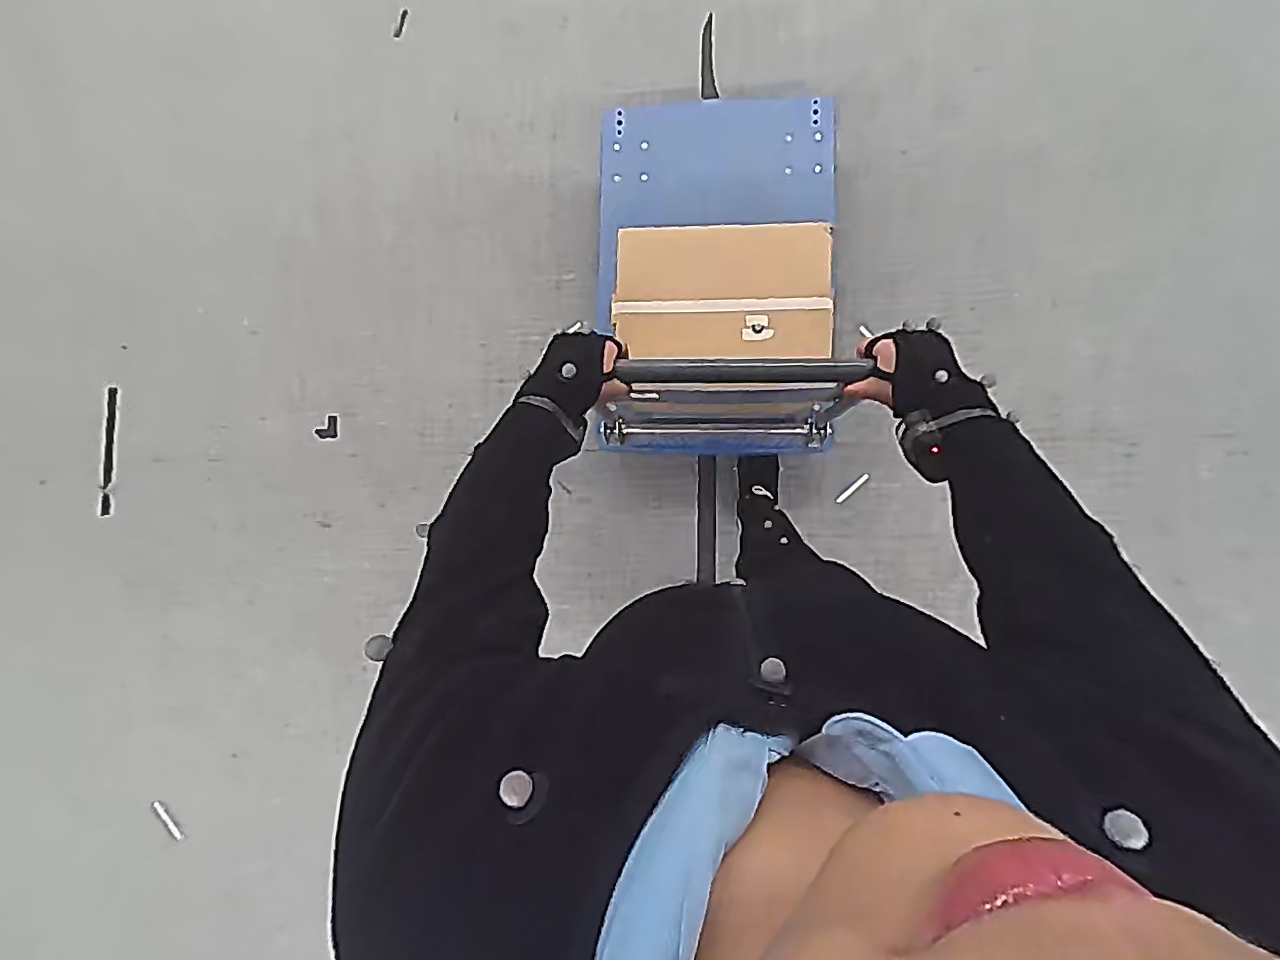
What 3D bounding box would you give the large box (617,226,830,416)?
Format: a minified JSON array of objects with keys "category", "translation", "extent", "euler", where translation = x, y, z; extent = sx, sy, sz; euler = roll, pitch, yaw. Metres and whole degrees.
[{"category":"large box","translation":[0.165,-0.316,1.167],"extent":[0.408,0.320,0.320],"euler":[0,89,5]}]
